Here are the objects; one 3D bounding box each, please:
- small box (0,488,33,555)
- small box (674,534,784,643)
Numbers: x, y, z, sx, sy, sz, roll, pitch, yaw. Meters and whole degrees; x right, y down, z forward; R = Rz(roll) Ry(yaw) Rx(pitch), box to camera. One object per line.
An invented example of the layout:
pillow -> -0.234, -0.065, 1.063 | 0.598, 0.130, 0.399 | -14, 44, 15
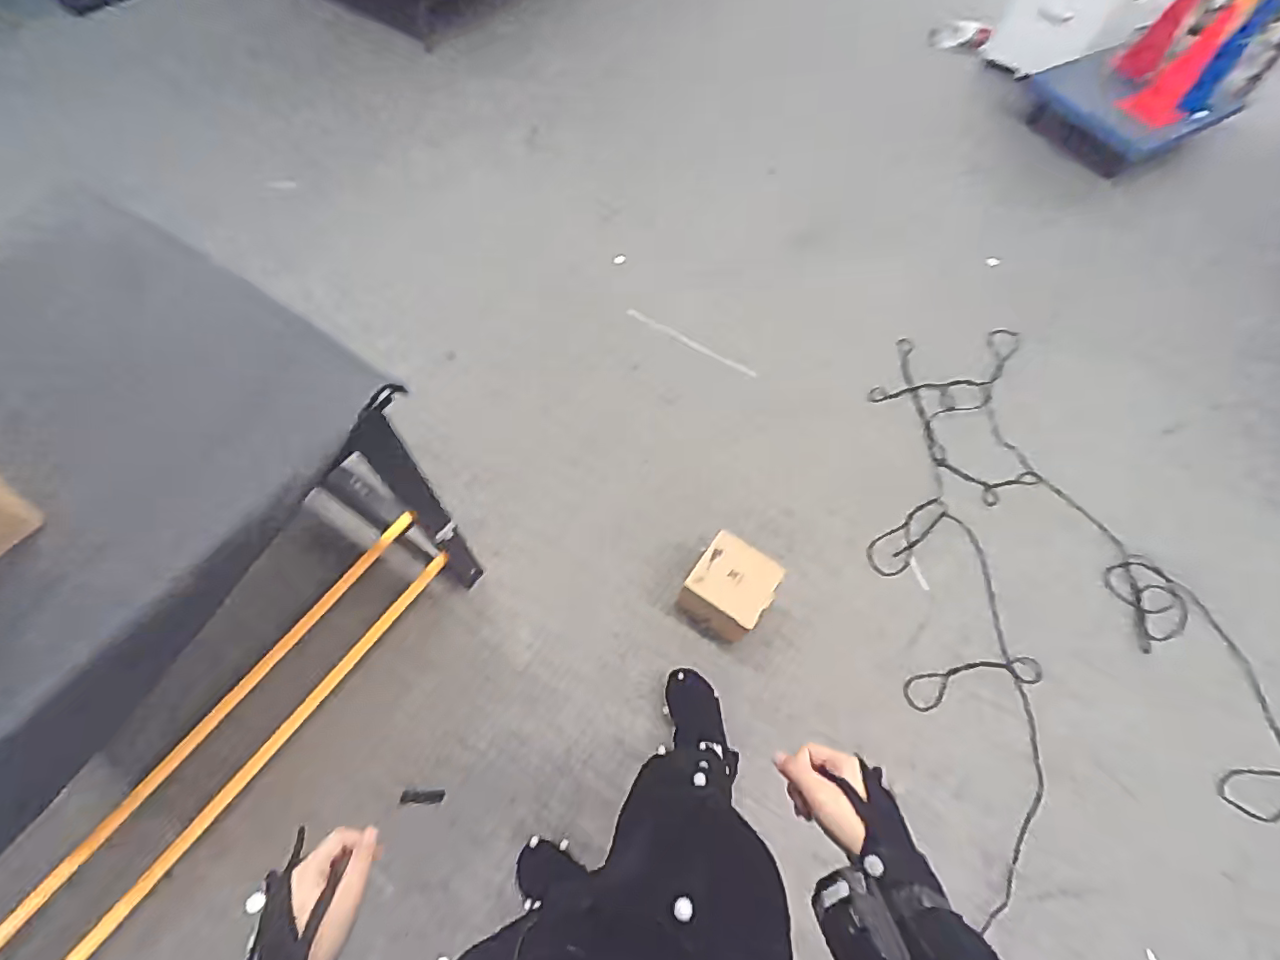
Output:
small box -> -0.749, 0.026, 0.496 | 0.179, 0.176, 0.168 | 32, 64, 13
small box -> 0.201, 0.262, 1.264 | 0.179, 0.176, 0.168 | 34, 64, 12
